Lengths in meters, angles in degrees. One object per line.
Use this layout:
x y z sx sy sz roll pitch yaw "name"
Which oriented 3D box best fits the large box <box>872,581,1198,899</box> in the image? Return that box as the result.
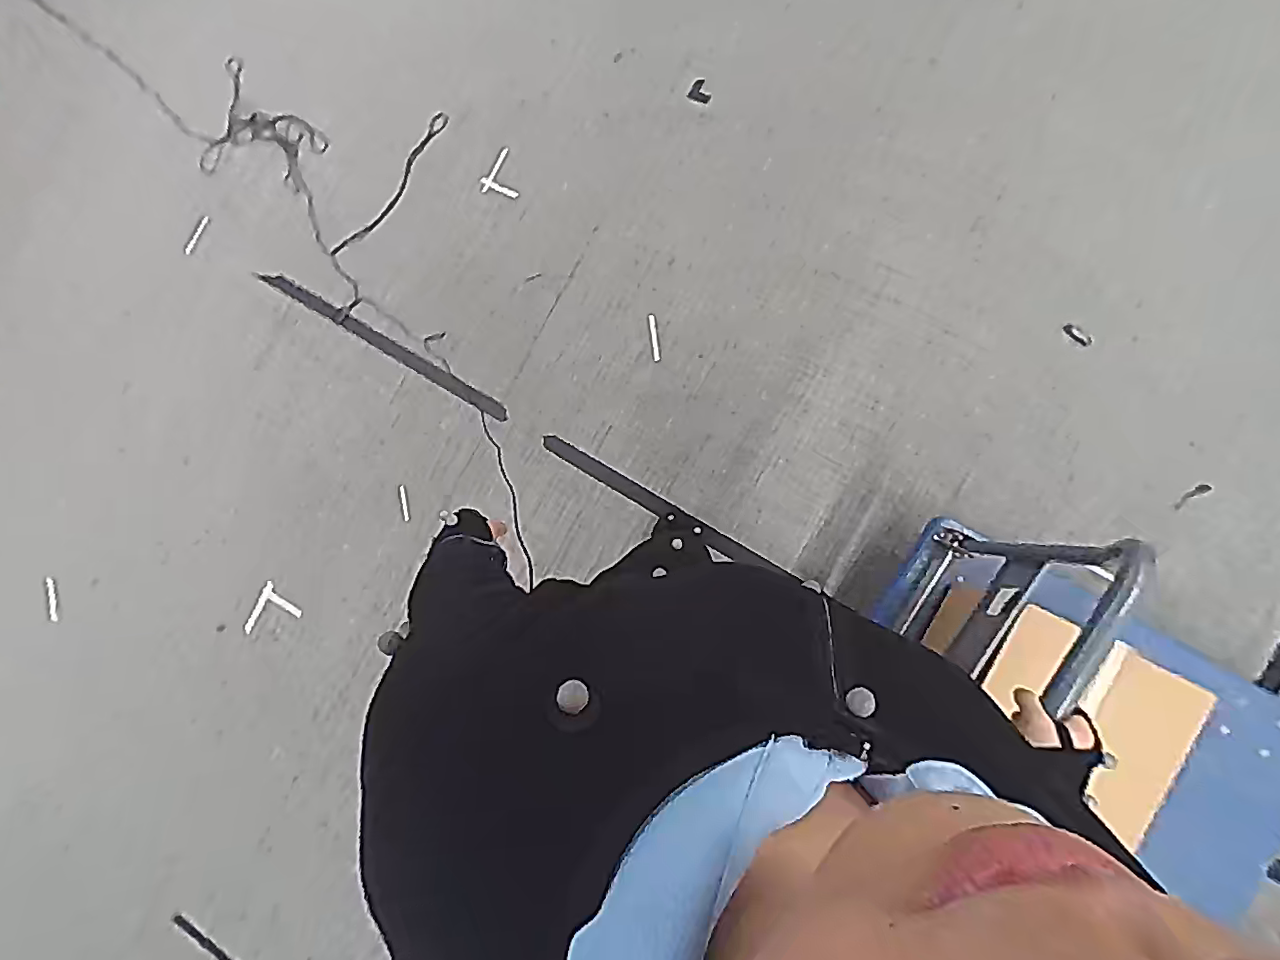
0.725 0.461 1.063 0.320 0.320 0.408 28 91 11 "large box"
